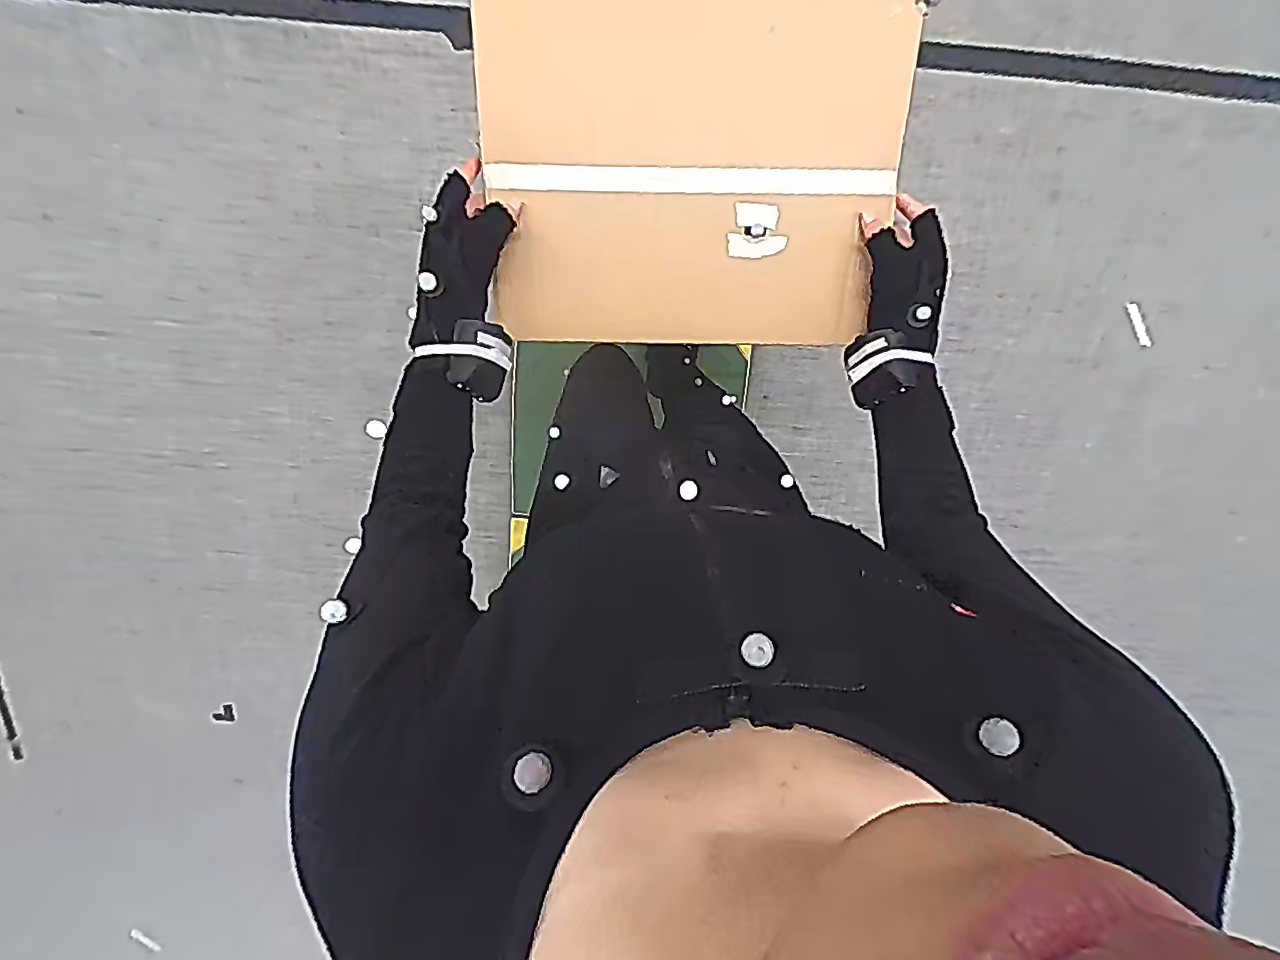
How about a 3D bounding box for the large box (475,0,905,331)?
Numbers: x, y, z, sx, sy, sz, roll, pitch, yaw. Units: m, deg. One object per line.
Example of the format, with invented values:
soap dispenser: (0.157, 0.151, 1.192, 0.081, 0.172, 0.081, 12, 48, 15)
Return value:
large box: (0.042, -0.365, 0.684, 0.408, 0.320, 0.320, 0, 112, -2)
